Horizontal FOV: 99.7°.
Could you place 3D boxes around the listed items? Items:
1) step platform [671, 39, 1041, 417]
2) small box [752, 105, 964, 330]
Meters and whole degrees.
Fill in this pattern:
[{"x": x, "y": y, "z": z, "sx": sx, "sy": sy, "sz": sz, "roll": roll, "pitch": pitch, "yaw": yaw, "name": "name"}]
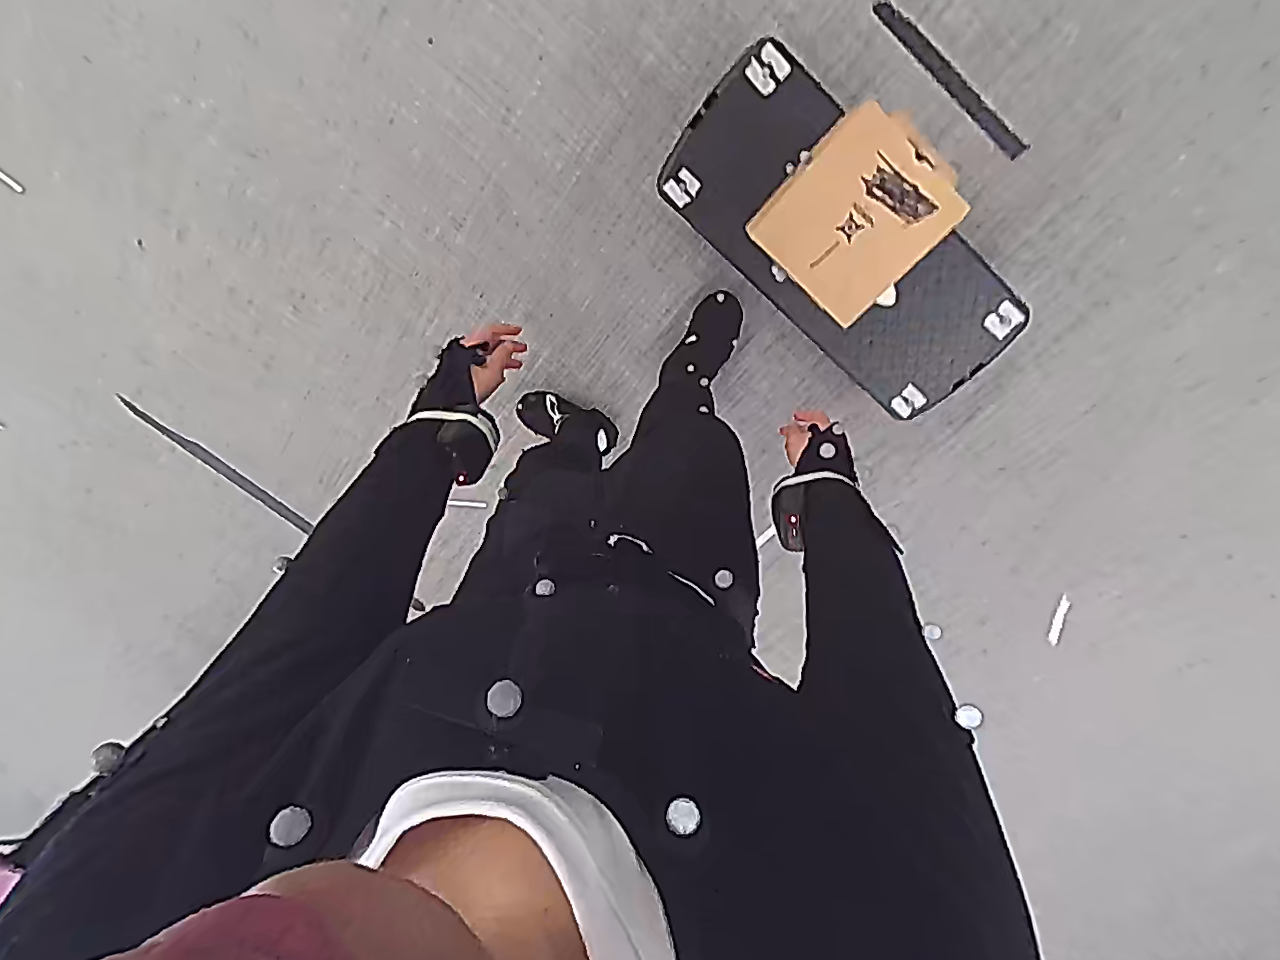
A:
[{"x": 0.383, "y": -0.429, "z": 0.996, "sx": 0.684, "sy": 0.204, "sz": 0.286, "roll": 40, "pitch": 116, "yaw": -9, "name": "step platform"}, {"x": 0.256, "y": -0.325, "z": 0.688, "sx": 0.168, "sy": 0.176, "sz": 0.179, "roll": 40, "pitch": 116, "yaw": -10, "name": "small box"}]
